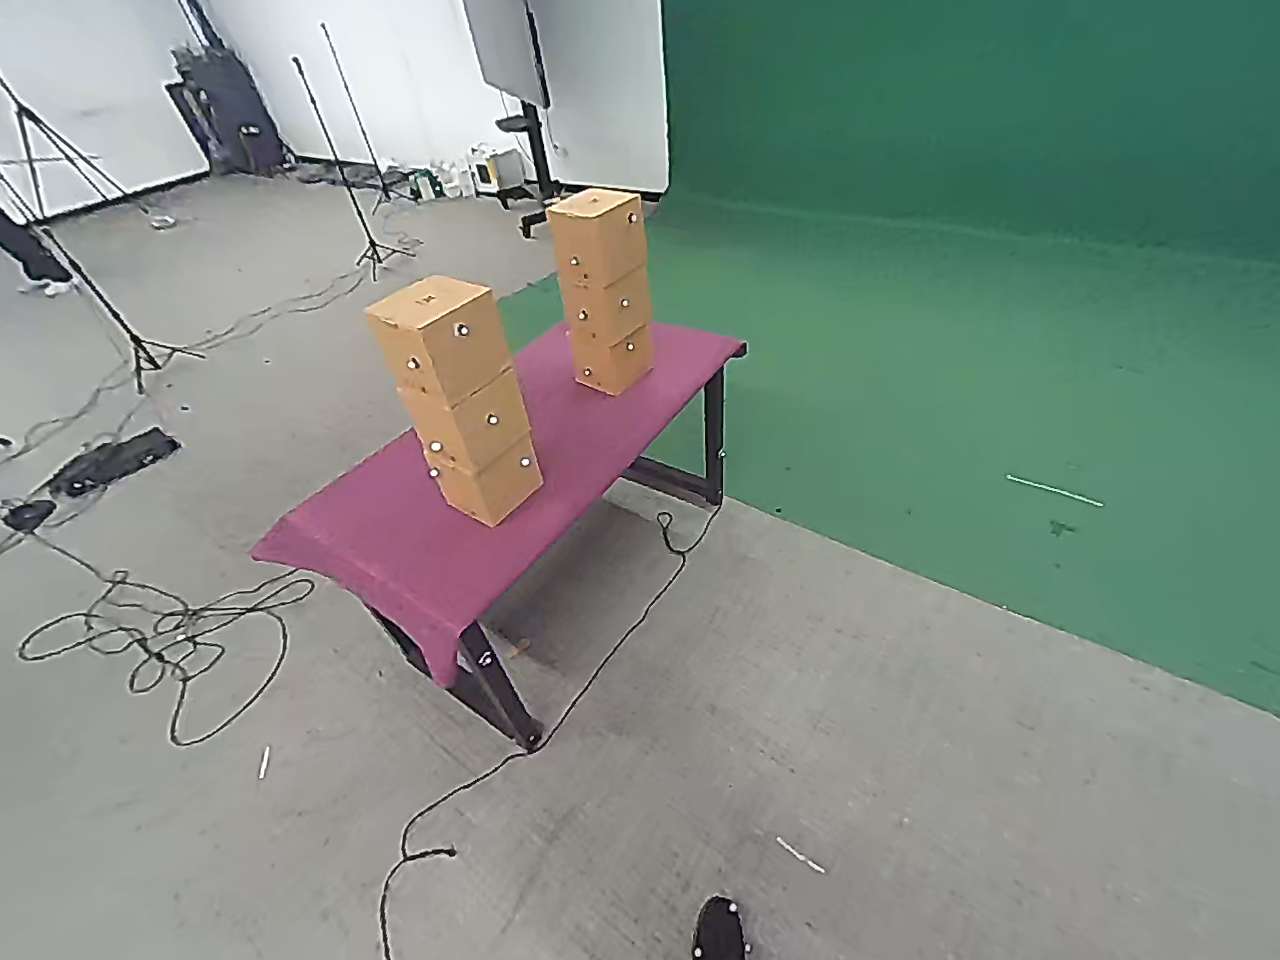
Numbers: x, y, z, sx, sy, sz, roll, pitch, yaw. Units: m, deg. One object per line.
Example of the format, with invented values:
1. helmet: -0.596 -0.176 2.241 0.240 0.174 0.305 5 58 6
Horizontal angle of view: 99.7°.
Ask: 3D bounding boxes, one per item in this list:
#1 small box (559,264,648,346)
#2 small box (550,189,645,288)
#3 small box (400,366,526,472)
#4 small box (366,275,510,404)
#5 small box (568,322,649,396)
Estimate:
1. small box: -0.091 -0.492 1.482 0.168 0.176 0.179 27 54 30
2. small box: -0.099 -0.613 1.369 0.168 0.176 0.179 26 54 31
3. small box: -0.362 -0.148 1.147 0.168 0.176 0.179 22 50 27
4. small box: -0.375 -0.270 1.040 0.168 0.176 0.179 24 50 27
5. small box: -0.086 -0.378 1.601 0.168 0.176 0.179 27 54 30
